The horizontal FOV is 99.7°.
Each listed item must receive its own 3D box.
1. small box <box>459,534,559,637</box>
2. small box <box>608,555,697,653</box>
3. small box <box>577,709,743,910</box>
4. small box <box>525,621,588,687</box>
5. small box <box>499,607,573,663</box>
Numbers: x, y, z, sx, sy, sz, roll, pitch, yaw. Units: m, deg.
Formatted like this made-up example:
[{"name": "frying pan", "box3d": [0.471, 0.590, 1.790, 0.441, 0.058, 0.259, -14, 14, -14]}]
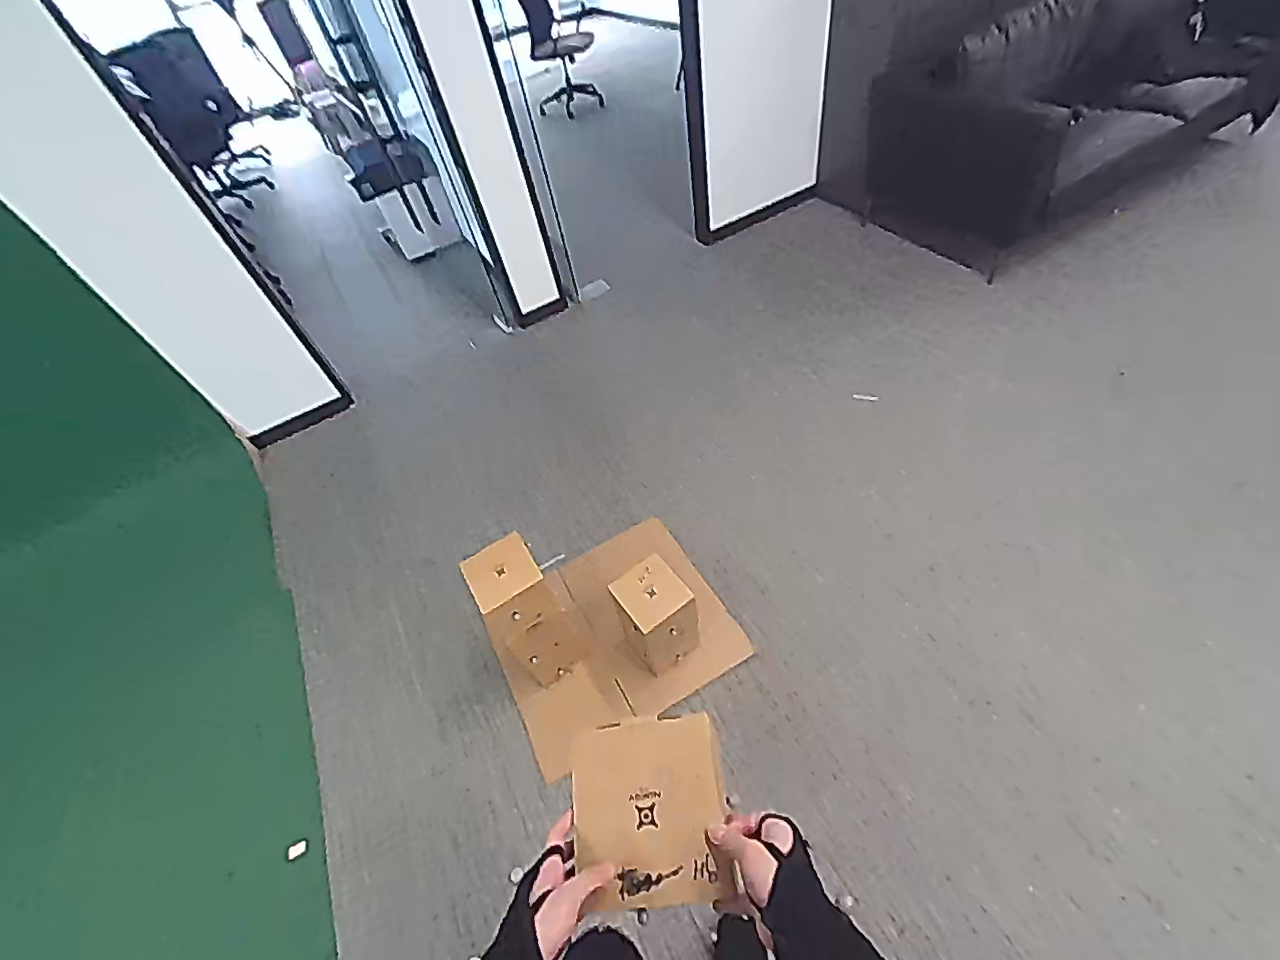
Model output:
[{"name": "small box", "box3d": [-0.329, 0.278, 1.384, 0.168, 0.176, 0.179, -31, 51, -14]}, {"name": "small box", "box3d": [0.039, 0.343, 1.461, 0.168, 0.176, 0.179, -33, 52, -17]}, {"name": "small box", "box3d": [0.025, 0.391, 0.646, 0.168, 0.176, 0.179, -10, 56, 5]}, {"name": "small box", "box3d": [-0.281, 0.487, 1.629, 0.168, 0.176, 0.179, -34, 53, -16]}, {"name": "small box", "box3d": [-0.307, 0.383, 1.505, 0.168, 0.176, 0.179, -31, 51, -14]}]
